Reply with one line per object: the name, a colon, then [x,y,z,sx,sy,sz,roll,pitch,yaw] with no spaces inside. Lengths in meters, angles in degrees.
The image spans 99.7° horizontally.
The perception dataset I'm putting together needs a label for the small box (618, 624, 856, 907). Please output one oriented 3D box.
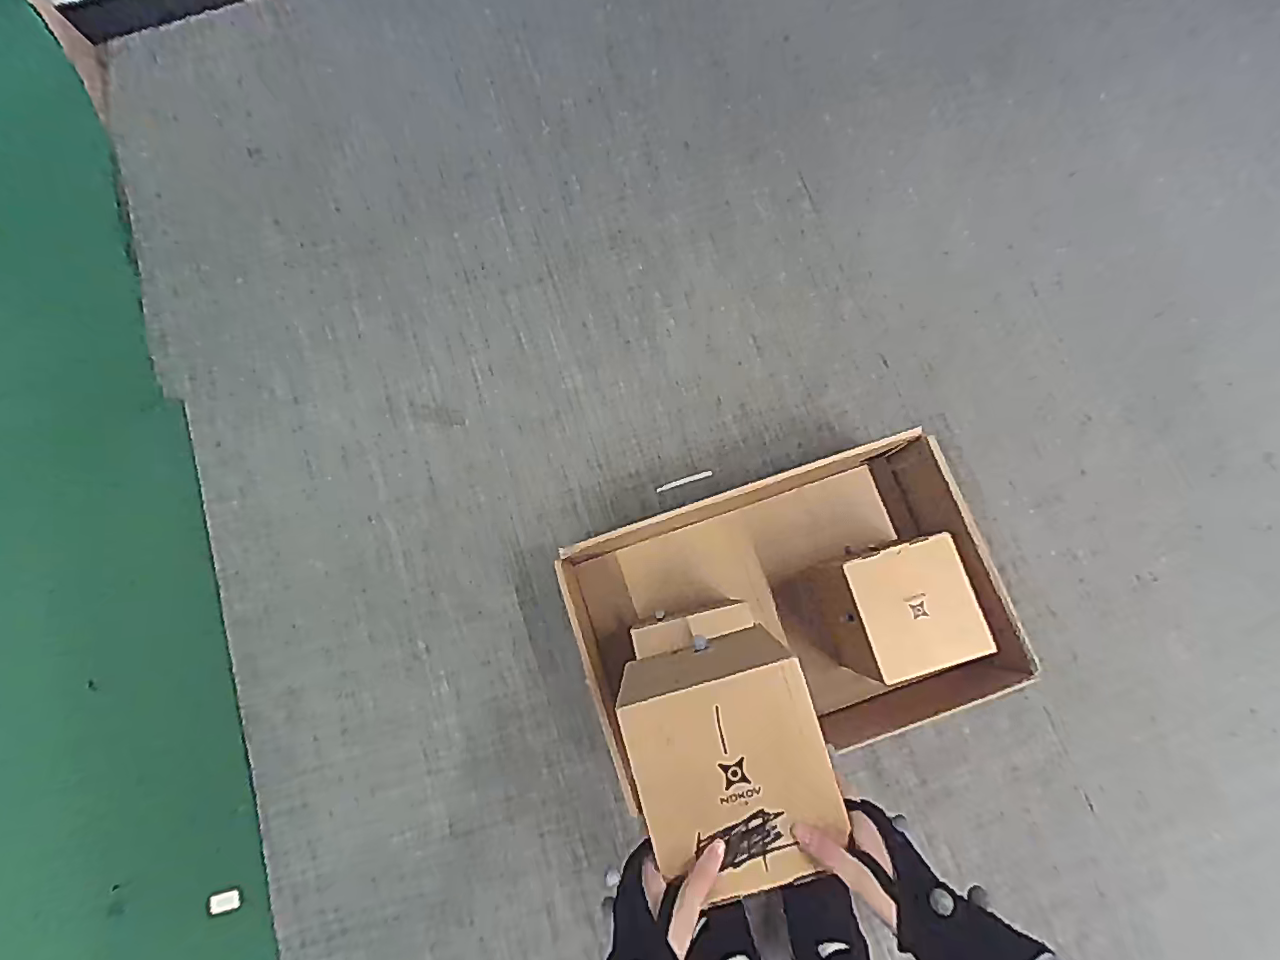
small box: [0.085,0.263,0.541,0.168,0.176,0.179,-17,85,0]
